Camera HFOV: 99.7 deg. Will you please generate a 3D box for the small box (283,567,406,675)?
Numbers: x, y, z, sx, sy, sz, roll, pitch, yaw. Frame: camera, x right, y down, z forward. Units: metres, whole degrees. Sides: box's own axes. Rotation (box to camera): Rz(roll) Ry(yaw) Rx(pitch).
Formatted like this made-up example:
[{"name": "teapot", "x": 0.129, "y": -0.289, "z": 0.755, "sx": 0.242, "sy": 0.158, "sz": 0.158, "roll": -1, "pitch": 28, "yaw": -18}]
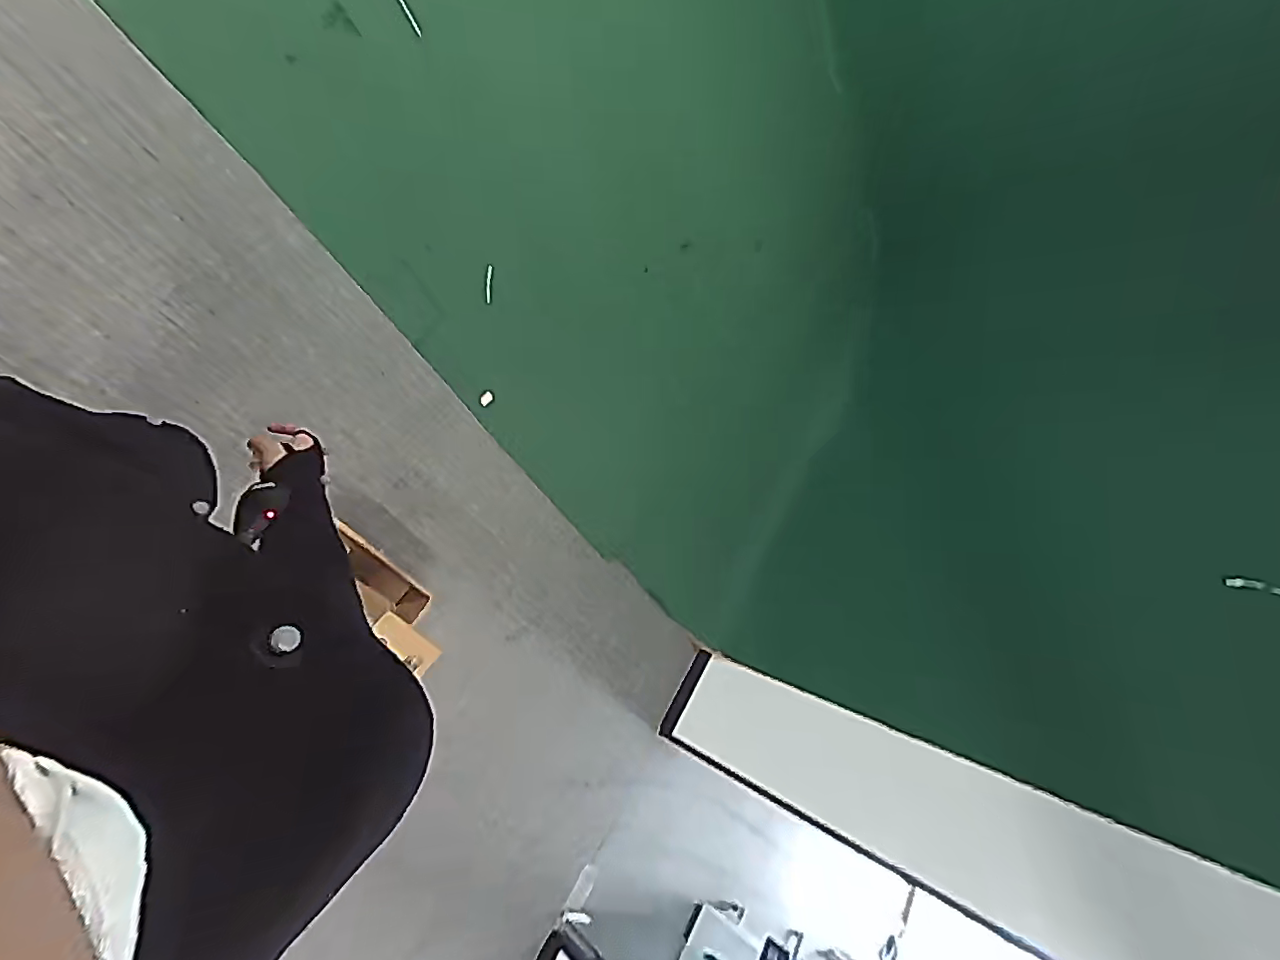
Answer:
[{"name": "small box", "x": -0.722, "y": 0.337, "z": 1.321, "sx": 0.168, "sy": 0.176, "sz": 0.179, "roll": -52, "pitch": 131, "yaw": -27}]
